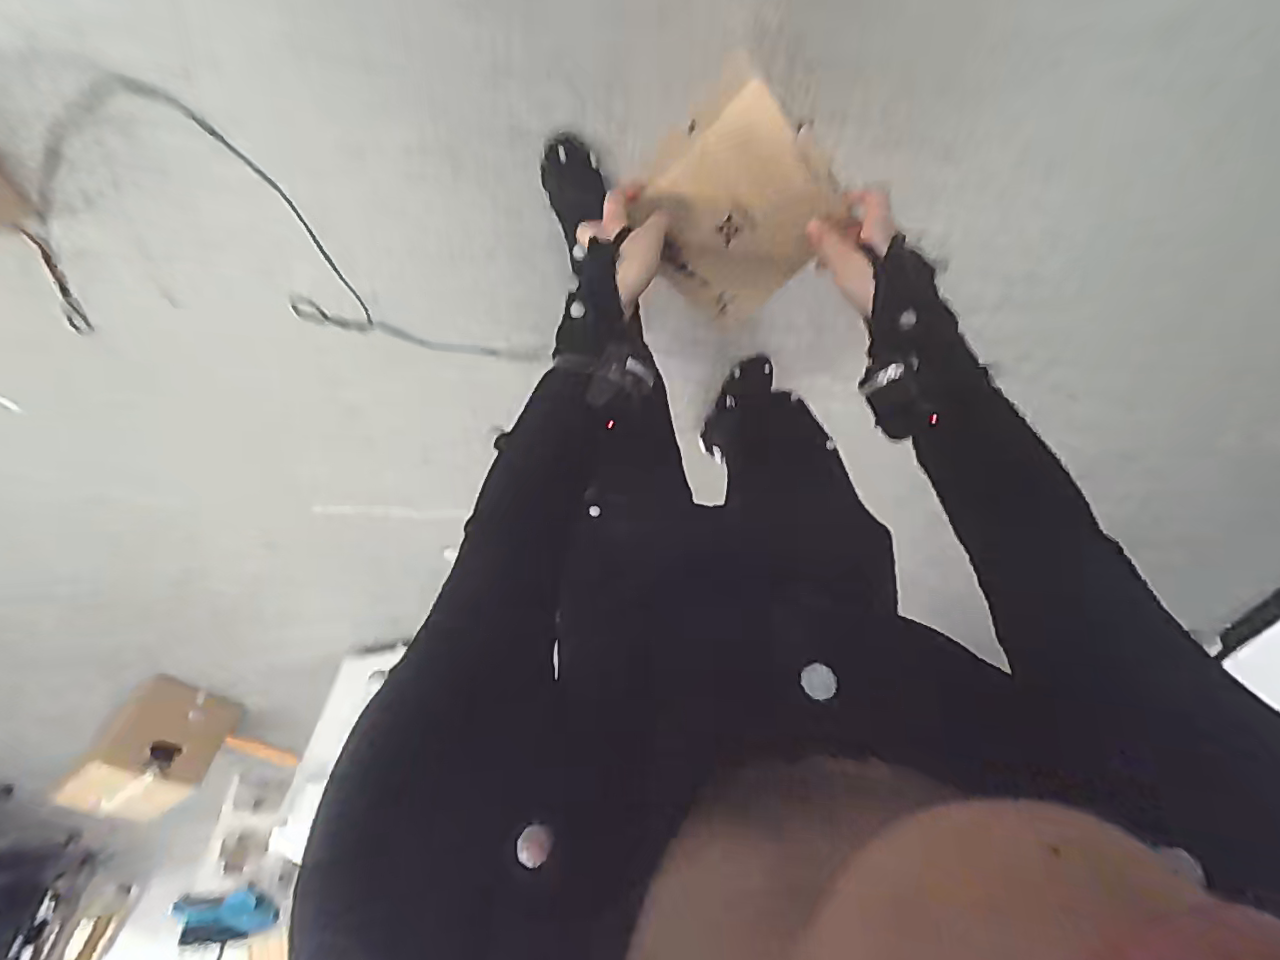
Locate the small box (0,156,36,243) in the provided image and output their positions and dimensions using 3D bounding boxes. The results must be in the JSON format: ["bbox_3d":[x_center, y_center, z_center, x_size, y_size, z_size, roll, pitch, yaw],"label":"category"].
[{"bbox_3d":[-1.198,-0.487,0.905,0.179,0.176,0.168,-2,128,-1],"label":"small box"}]
